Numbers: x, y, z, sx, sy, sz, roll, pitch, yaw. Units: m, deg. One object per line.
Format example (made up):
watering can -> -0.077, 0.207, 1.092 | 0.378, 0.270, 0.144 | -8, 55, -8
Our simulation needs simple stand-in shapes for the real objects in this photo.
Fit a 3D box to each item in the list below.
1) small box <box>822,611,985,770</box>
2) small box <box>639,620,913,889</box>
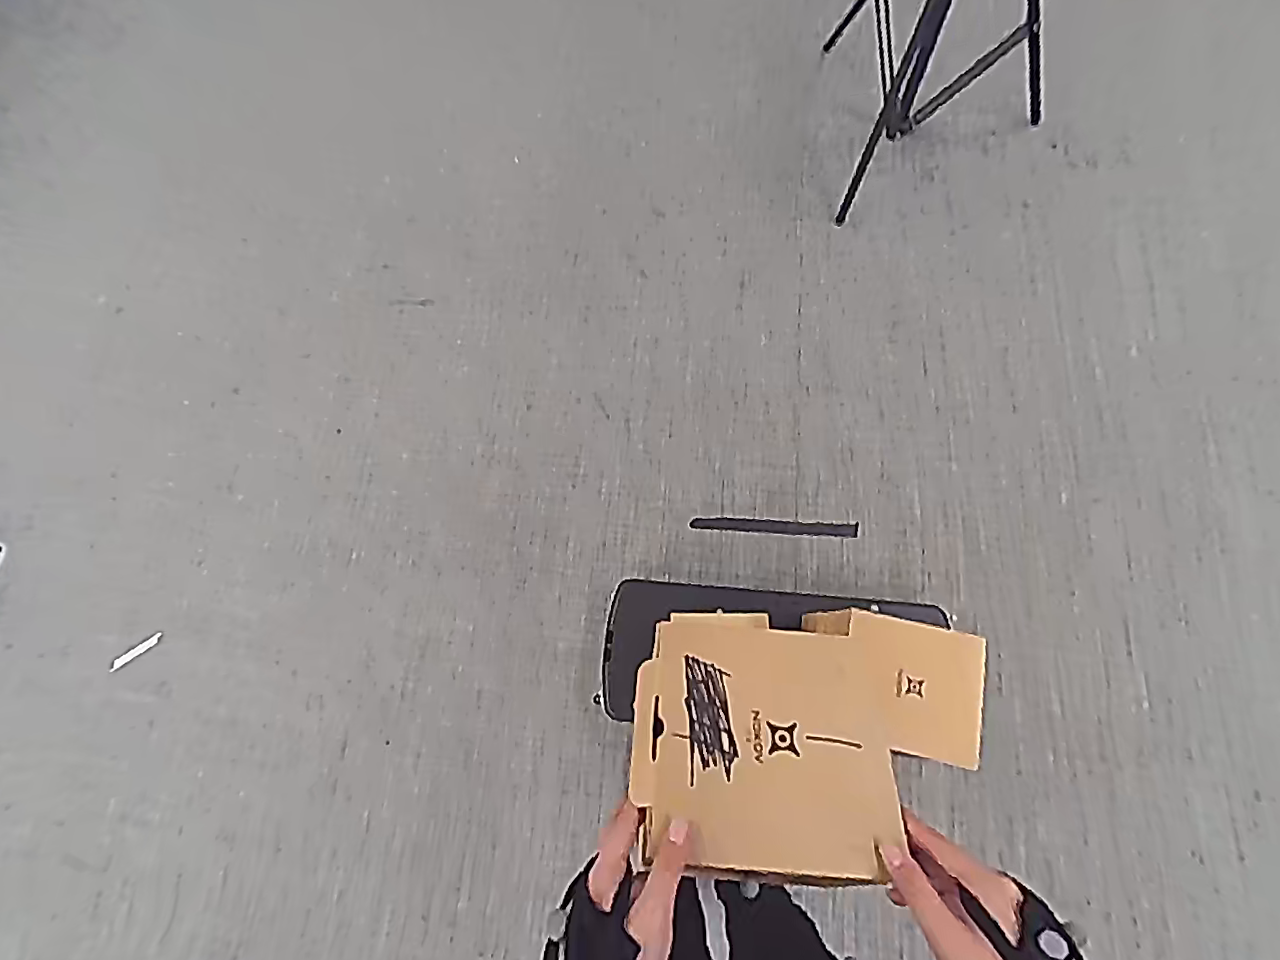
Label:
small box -> 0.359, 0.289, 0.777 | 0.179, 0.176, 0.168 | 10, 76, 11
small box -> 0.092, 0.234, 0.455 | 0.179, 0.176, 0.168 | 5, 53, 1
